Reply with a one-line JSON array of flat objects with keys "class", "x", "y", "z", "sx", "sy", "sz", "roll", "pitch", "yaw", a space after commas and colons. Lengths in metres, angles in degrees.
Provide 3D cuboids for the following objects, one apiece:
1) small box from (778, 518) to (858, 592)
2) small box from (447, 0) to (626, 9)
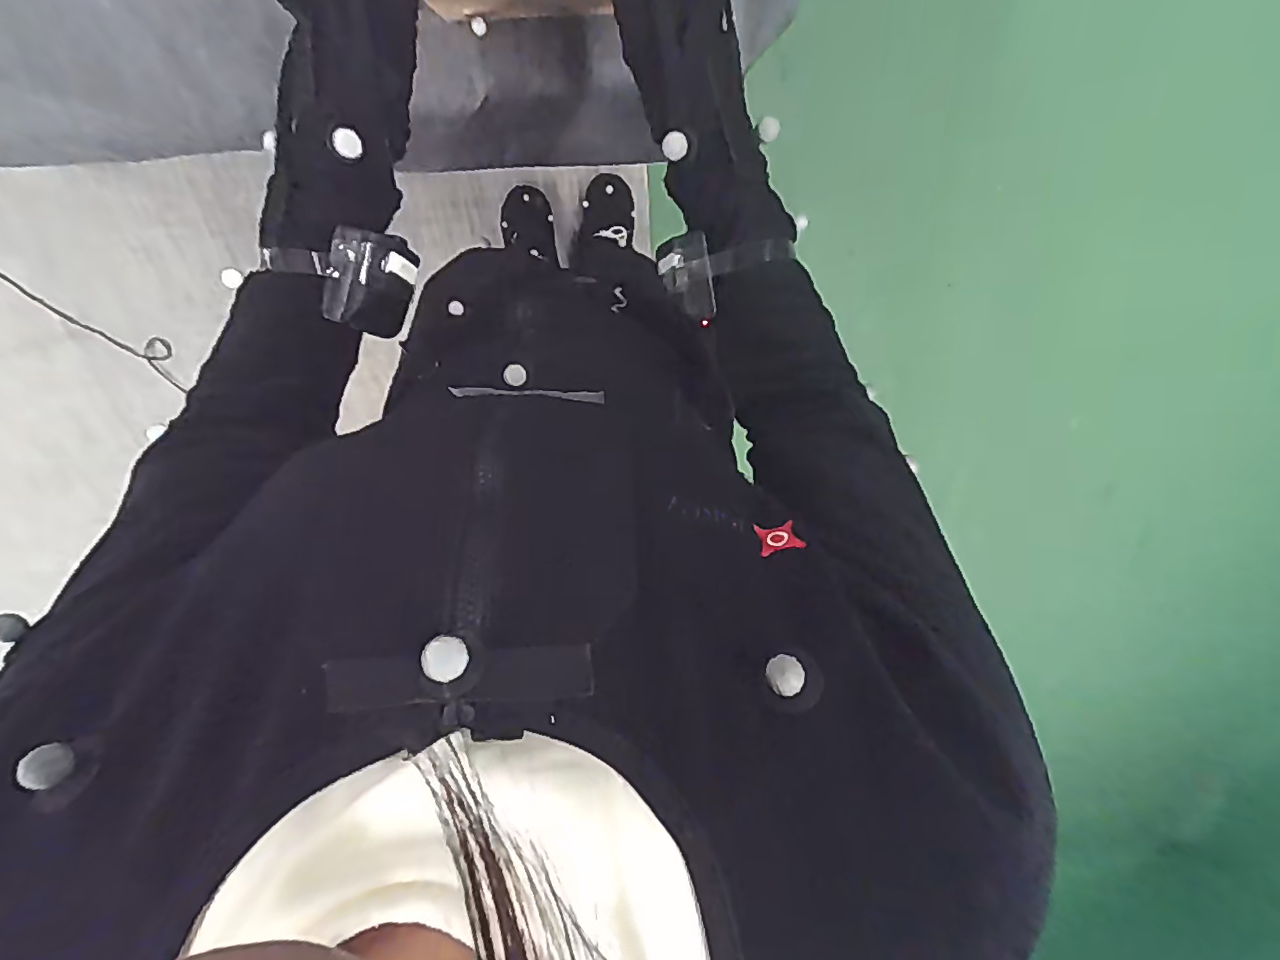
[{"class": "small box", "x": 0.550, "y": 0.231, "z": 1.688, "sx": 0.179, "sy": 0.176, "sz": 0.168, "roll": -4, "pitch": 121, "yaw": -4}, {"class": "small box", "x": -0.082, "y": -0.431, "z": 0.348, "sx": 0.168, "sy": 0.176, "sz": 0.179, "roll": -6, "pitch": 121, "yaw": -3}]
